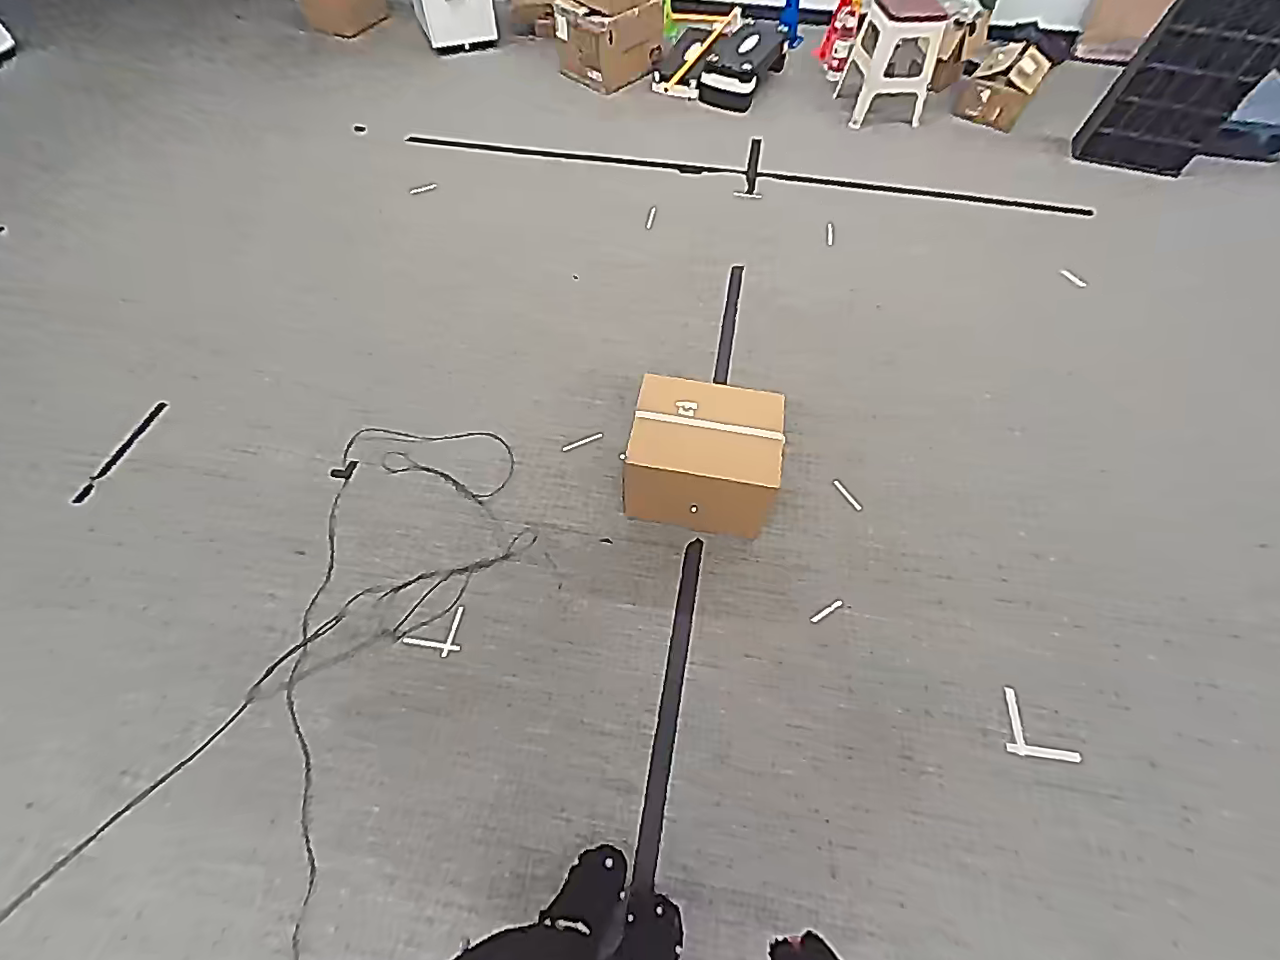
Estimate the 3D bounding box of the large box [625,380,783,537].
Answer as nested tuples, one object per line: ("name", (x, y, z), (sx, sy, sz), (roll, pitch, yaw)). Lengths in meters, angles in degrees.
("large box", (0.184, -0.055, 1.589), (0.408, 0.320, 0.320), (9, 59, 5))
